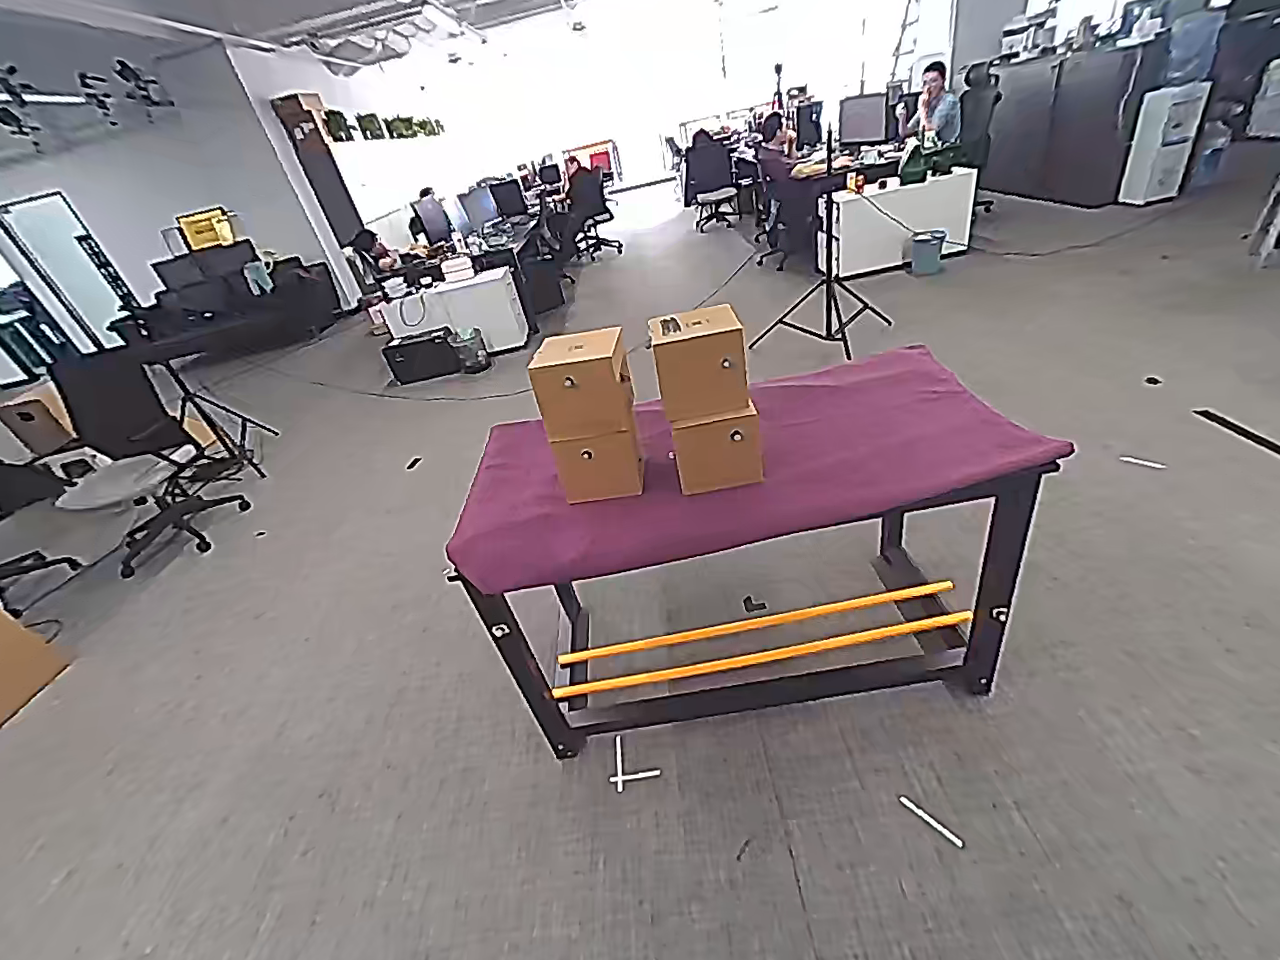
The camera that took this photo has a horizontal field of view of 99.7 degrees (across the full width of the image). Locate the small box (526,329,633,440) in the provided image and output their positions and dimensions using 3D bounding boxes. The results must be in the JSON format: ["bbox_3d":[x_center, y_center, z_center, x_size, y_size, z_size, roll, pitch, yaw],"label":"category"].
[{"bbox_3d":[-0.117,-0.203,1.152,0.179,0.176,0.168,-6,34,11],"label":"small box"}]

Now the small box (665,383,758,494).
[{"bbox_3d":[0.157,-0.090,1.187,0.179,0.176,0.168,-11,32,4],"label":"small box"}]
